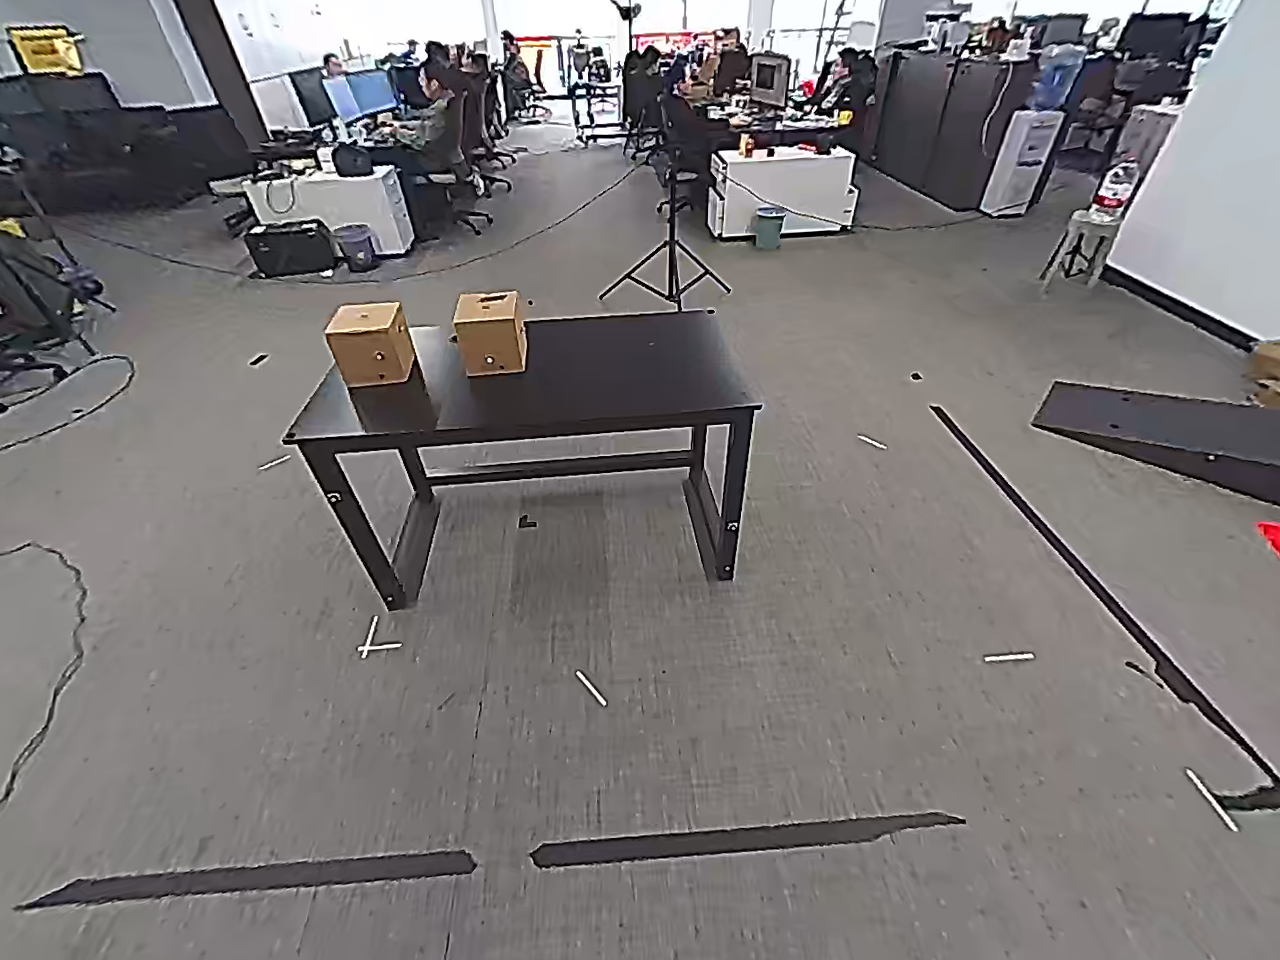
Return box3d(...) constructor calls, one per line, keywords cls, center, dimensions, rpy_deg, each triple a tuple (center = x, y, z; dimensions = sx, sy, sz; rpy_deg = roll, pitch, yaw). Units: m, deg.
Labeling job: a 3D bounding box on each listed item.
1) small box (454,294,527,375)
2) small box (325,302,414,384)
box3d(cls="small box", center=(-0.422, -0.419, 1.558), dimensions=(0.168, 0.176, 0.179), rpy_deg=(-5, 42, -4))
box3d(cls="small box", center=(-0.752, -0.383, 1.527), dimensions=(0.168, 0.176, 0.179), rpy_deg=(-6, 40, -7))
